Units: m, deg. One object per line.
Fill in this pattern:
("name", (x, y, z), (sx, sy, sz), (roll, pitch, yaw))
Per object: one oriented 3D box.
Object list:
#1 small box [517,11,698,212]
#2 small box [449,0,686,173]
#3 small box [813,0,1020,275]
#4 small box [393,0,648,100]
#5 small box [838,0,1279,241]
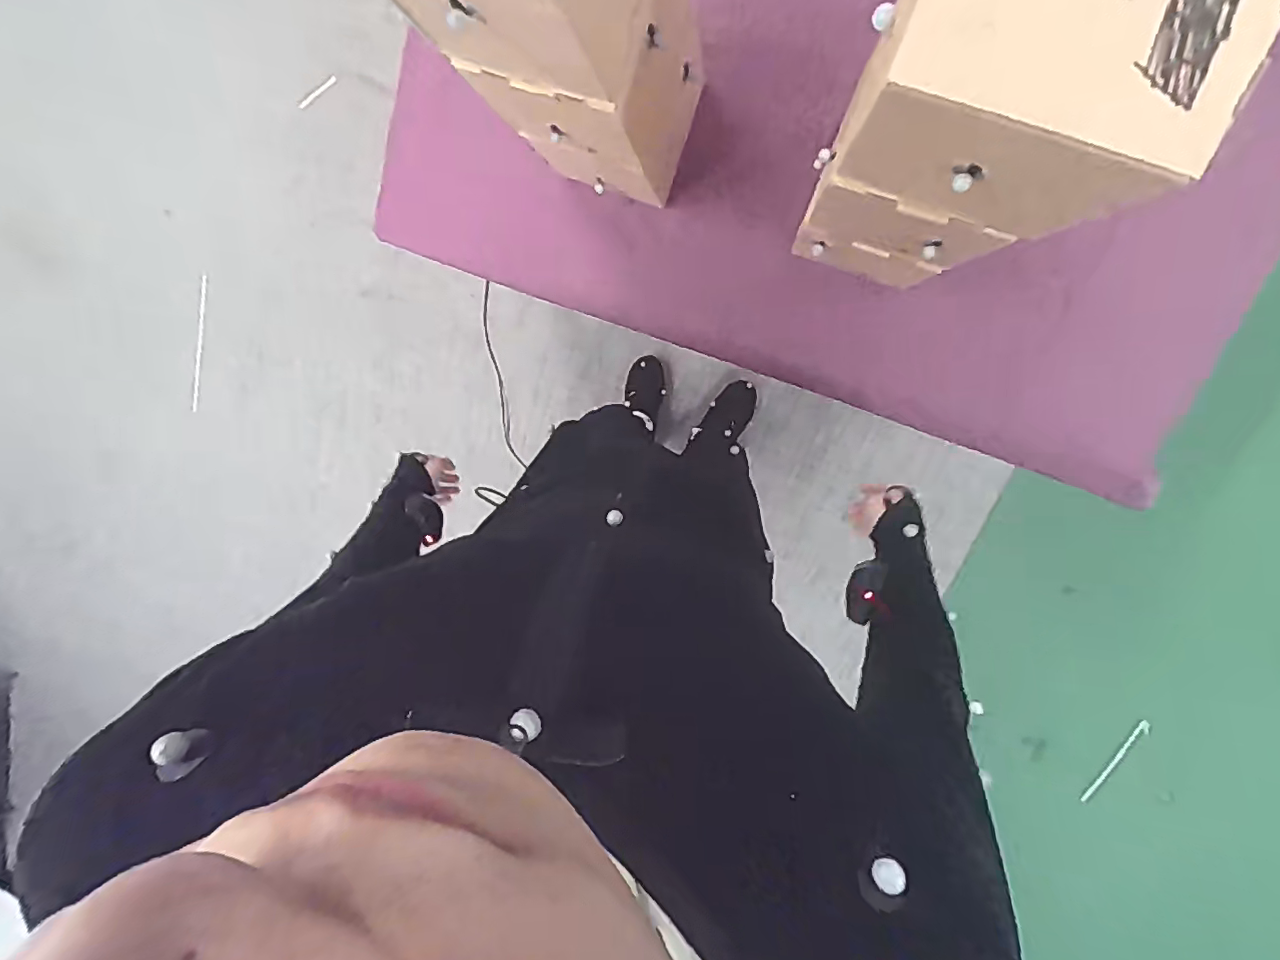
("small box", (-0.030, -0.475, 0.691), (0.168, 0.176, 0.179), (22, 106, 5))
("small box", (-0.058, -0.441, 0.536), (0.168, 0.176, 0.179), (20, 106, 5))
("small box", (0.275, -0.309, 0.505), (0.168, 0.176, 0.179), (21, 105, 5))
("small box", (-0.090, -0.406, 0.378), (0.179, 0.176, 0.168), (20, 106, 5))
("small box", (0.254, -0.271, 0.347), (0.179, 0.176, 0.168), (22, 105, 5))
